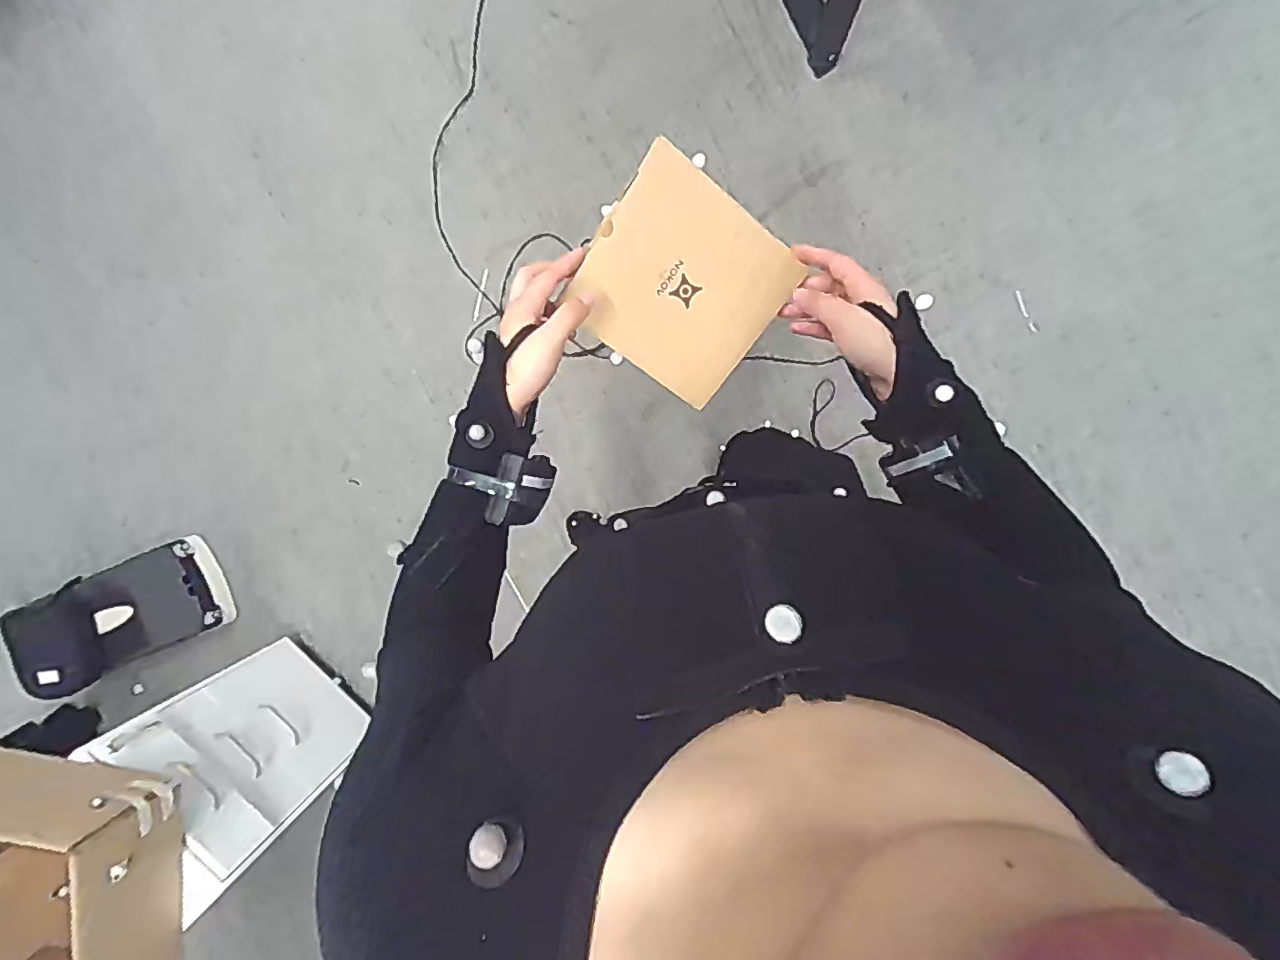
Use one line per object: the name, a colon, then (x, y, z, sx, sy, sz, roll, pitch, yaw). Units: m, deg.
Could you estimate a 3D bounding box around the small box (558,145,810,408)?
small box: (0.038, -0.208, 0.565, 0.179, 0.176, 0.168, 33, 109, -15)
